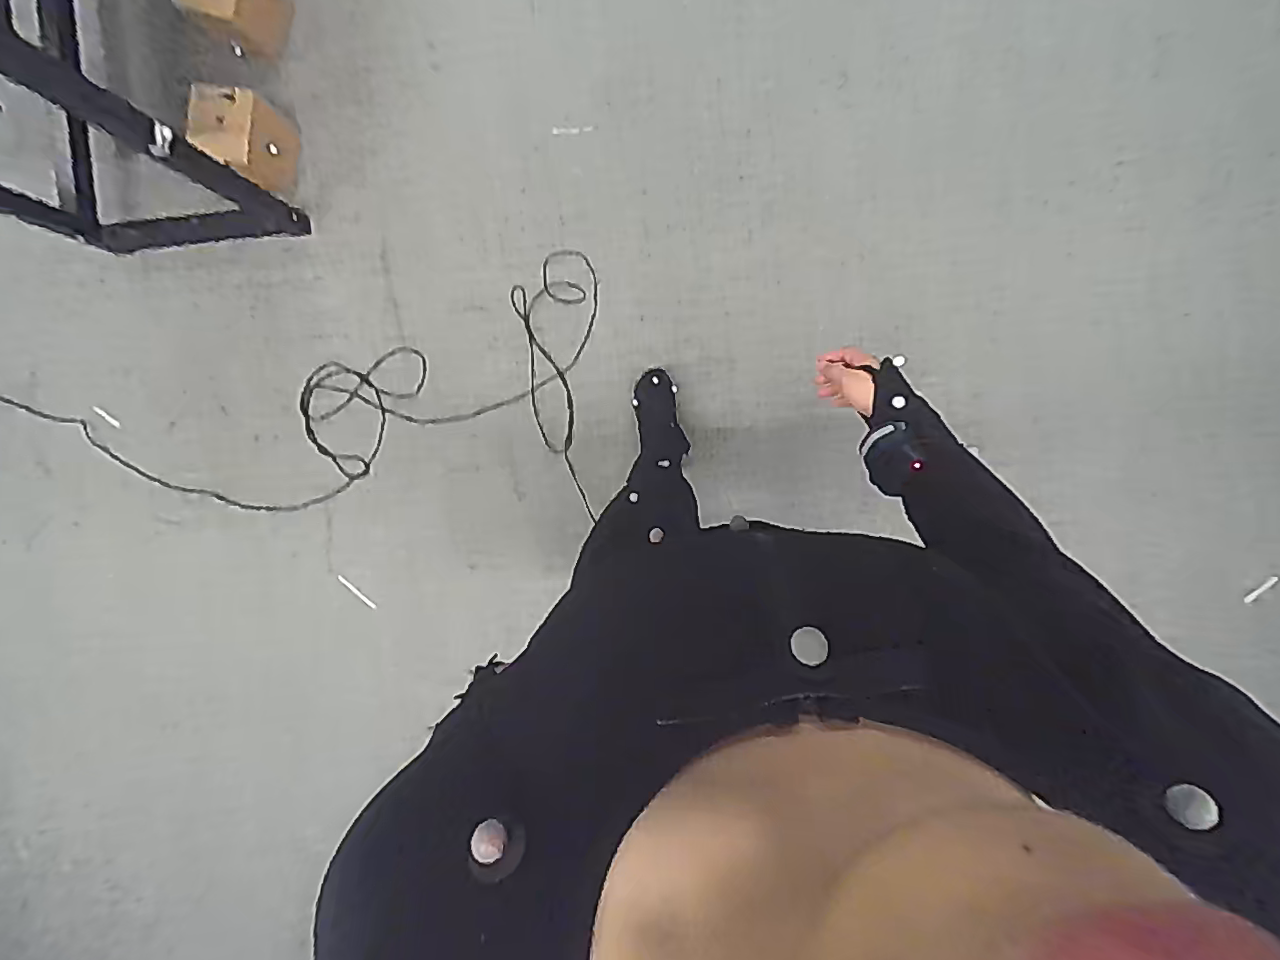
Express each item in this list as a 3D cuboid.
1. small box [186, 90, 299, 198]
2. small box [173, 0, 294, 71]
[{"bbox_3d":[-1.017,-0.857,1.395,0.168,0.176,0.179,9,94,3],"label":"small box"},{"bbox_3d":[-1.024,-1.204,1.377,0.168,0.176,0.179,17,95,3],"label":"small box"}]
